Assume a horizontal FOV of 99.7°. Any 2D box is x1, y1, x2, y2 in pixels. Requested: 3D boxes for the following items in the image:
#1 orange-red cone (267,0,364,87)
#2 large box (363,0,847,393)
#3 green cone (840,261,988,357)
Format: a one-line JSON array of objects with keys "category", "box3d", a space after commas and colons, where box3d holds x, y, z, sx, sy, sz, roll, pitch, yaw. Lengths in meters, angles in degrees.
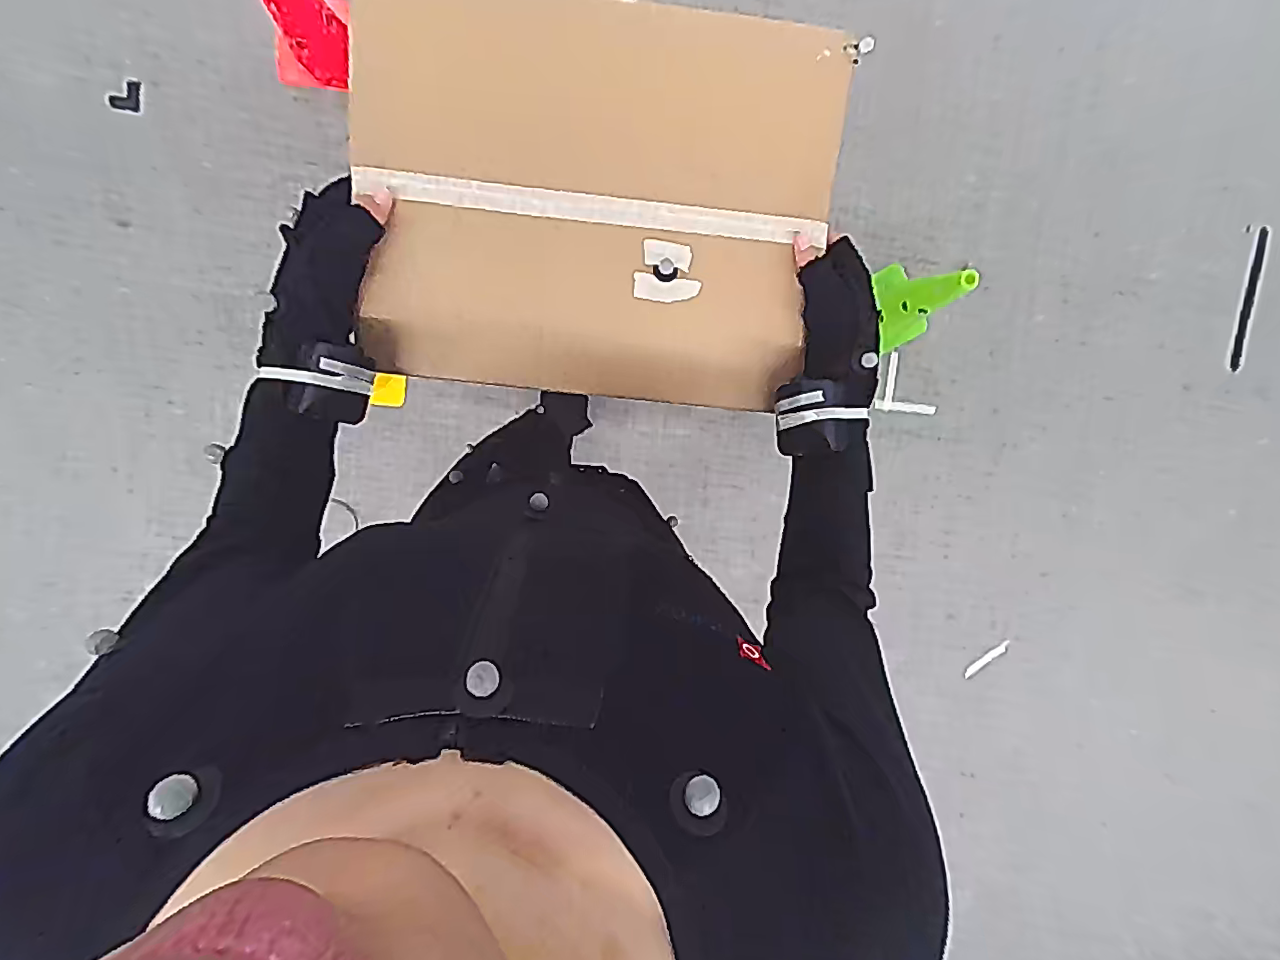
[{"category": "orange-red cone", "box3d": [-0.742, -1.023, 1.112, 0.198, 0.360, 0.199, 5, 98, -3]}, {"category": "large box", "box3d": [-0.044, -0.276, 0.615, 0.408, 0.320, 0.320, 5, 103, -4]}, {"category": "green cone", "box3d": [0.669, -0.434, 1.272, 0.202, 0.368, 0.200, -30, 99, -1]}]
